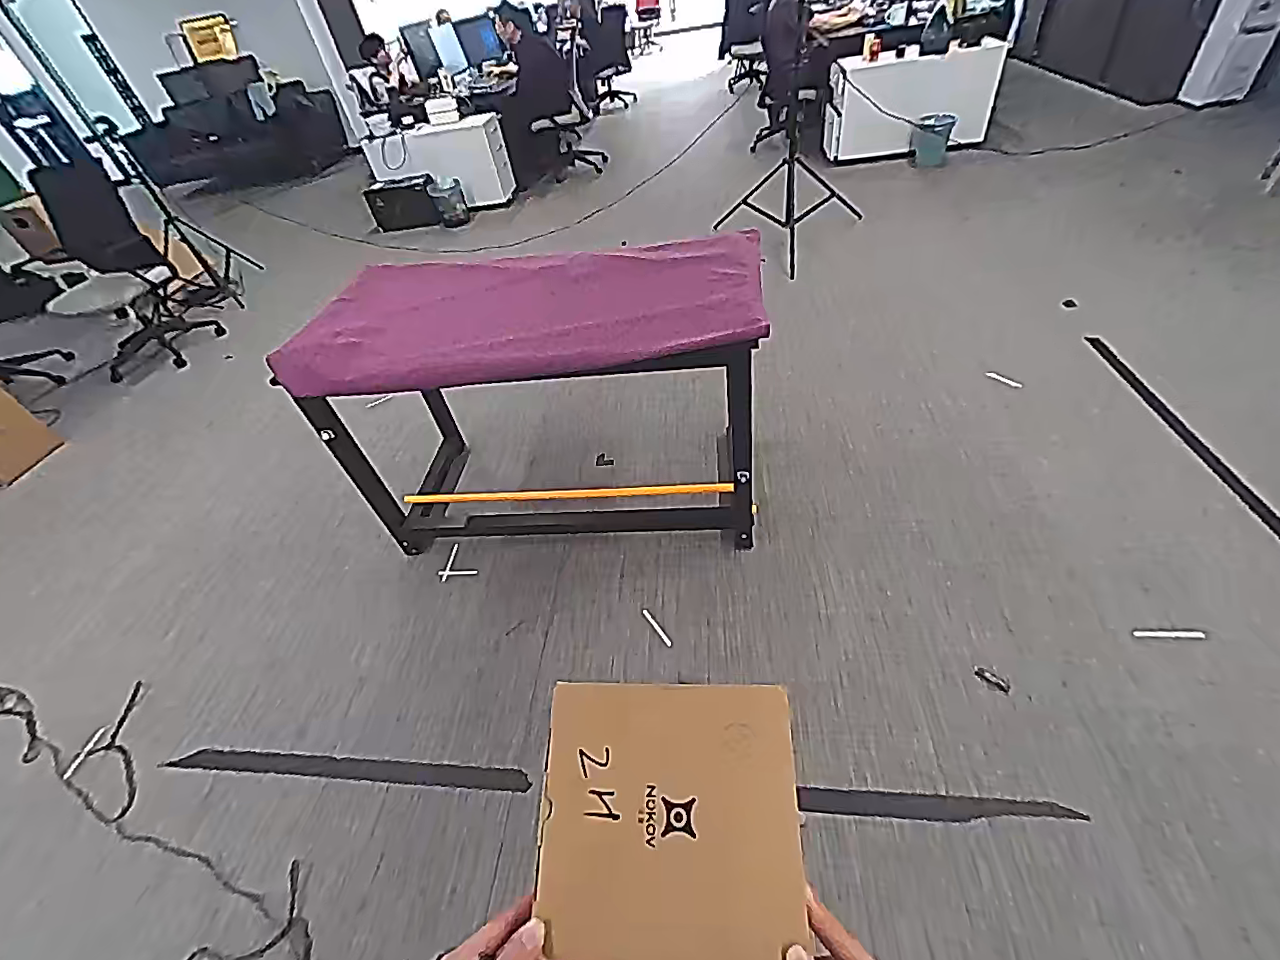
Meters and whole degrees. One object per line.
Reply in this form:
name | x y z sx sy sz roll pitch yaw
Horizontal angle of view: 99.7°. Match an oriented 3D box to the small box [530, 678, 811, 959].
small box | 0.030 0.259 0.437 0.179 0.176 0.168 -2 62 8
